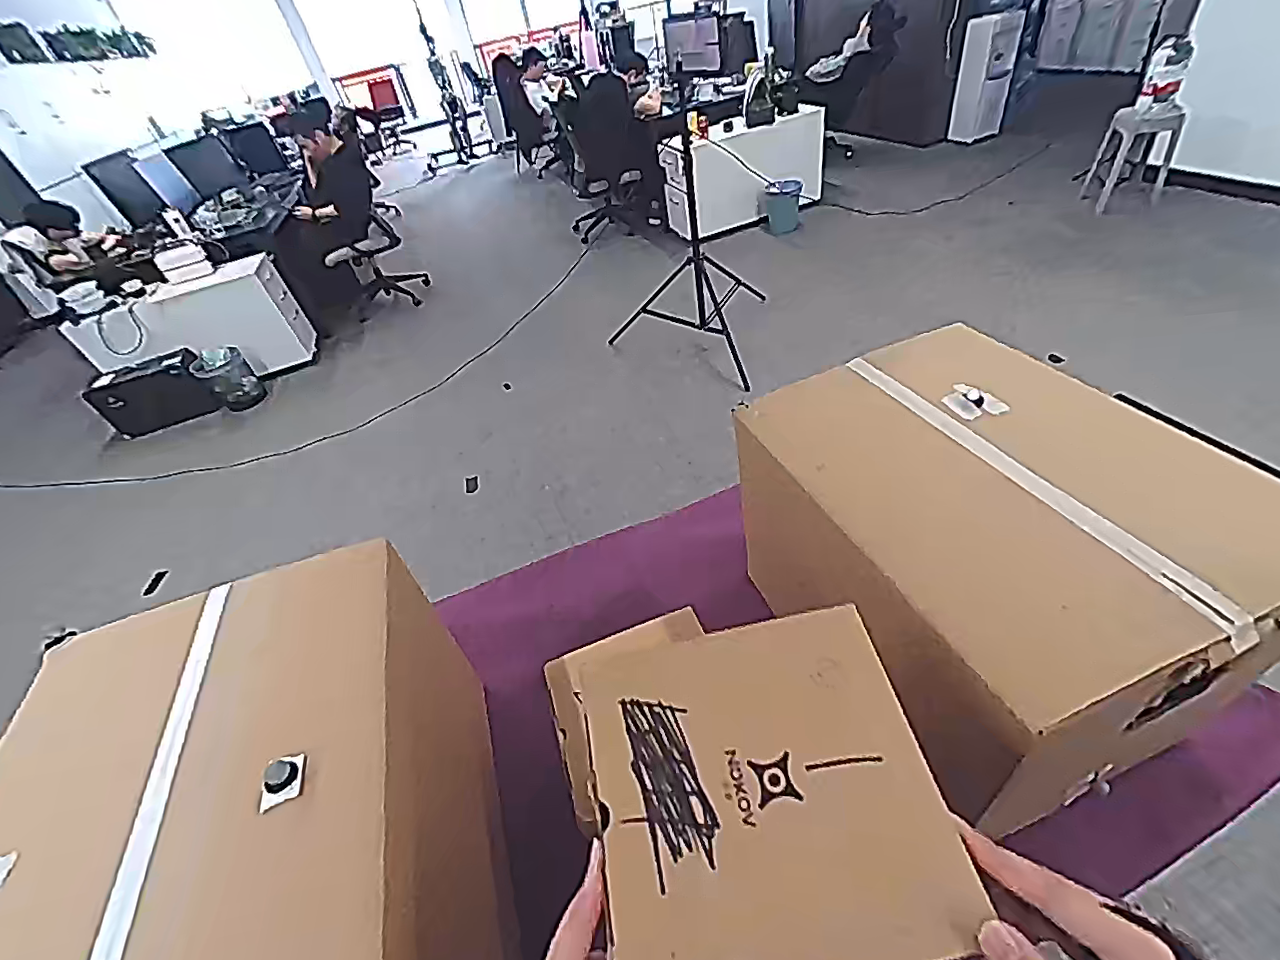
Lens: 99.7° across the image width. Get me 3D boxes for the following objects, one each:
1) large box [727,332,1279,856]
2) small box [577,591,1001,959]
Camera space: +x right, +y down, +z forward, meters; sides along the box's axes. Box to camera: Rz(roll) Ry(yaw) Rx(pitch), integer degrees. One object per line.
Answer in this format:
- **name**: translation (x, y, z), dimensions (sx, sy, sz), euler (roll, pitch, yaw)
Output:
- **large box**: translation (0.335, 0.095, 0.589), dimensions (0.320, 0.320, 0.408), euler (-20, 41, -9)
- **small box**: translation (0.068, 0.195, 0.342), dimensions (0.179, 0.176, 0.168), euler (-11, 53, -2)
